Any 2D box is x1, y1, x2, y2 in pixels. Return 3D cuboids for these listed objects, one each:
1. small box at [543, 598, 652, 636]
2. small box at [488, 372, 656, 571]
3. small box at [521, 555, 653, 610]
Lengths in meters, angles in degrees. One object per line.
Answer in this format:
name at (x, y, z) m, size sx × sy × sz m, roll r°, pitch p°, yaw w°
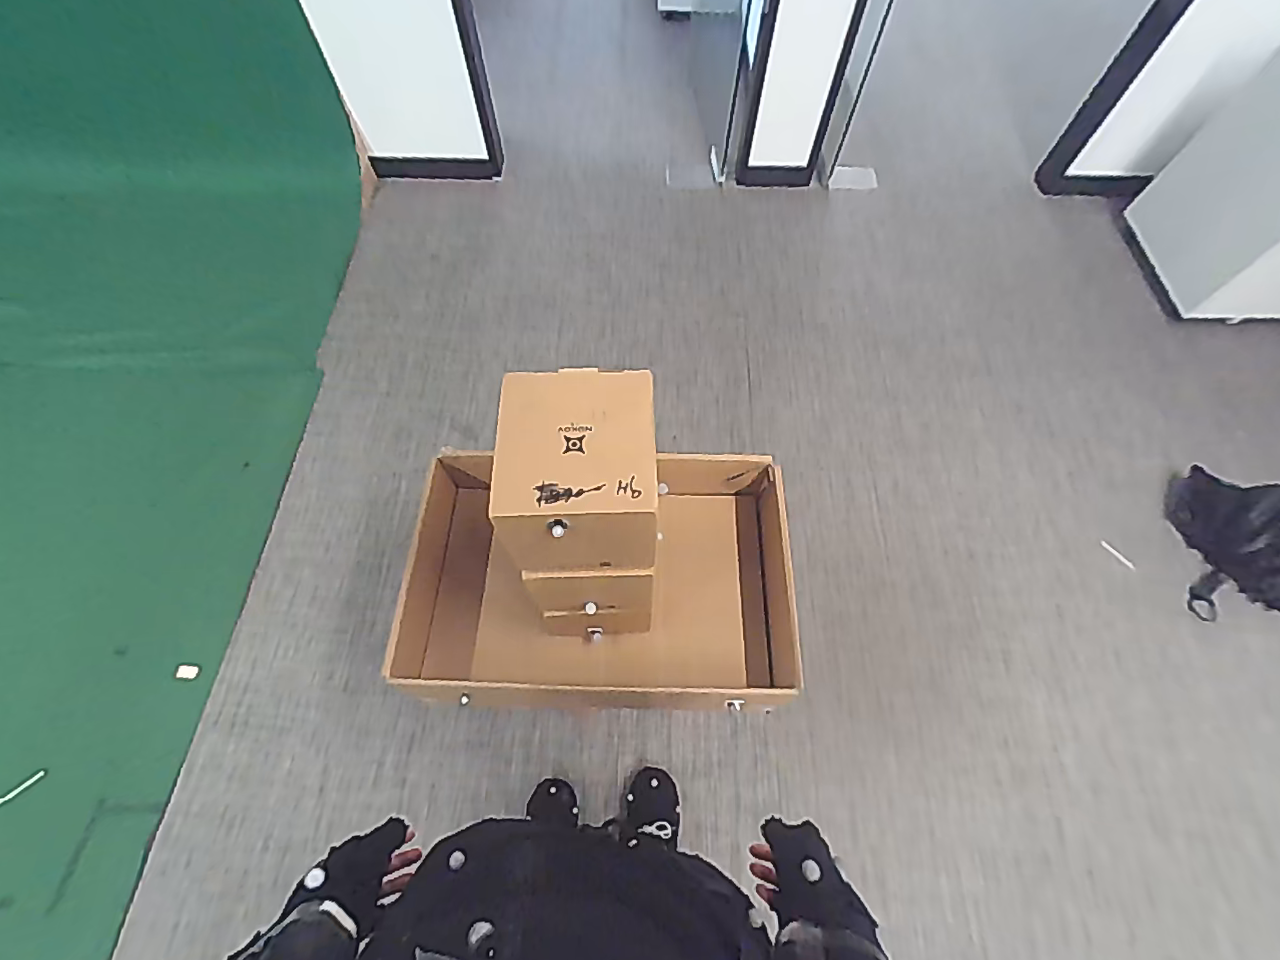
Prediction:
small box at (-0.069, 0.157, 0.918) m, size 0.168 × 0.176 × 0.179 m, roll -3°, pitch 63°, yaw -1°
small box at (-0.067, -0.005, 0.634) m, size 0.168 × 0.176 × 0.179 m, roll -2°, pitch 61°, yaw 1°
small box at (-0.067, 0.079, 0.774) m, size 0.168 × 0.176 × 0.179 m, roll -1°, pitch 63°, yaw 0°
